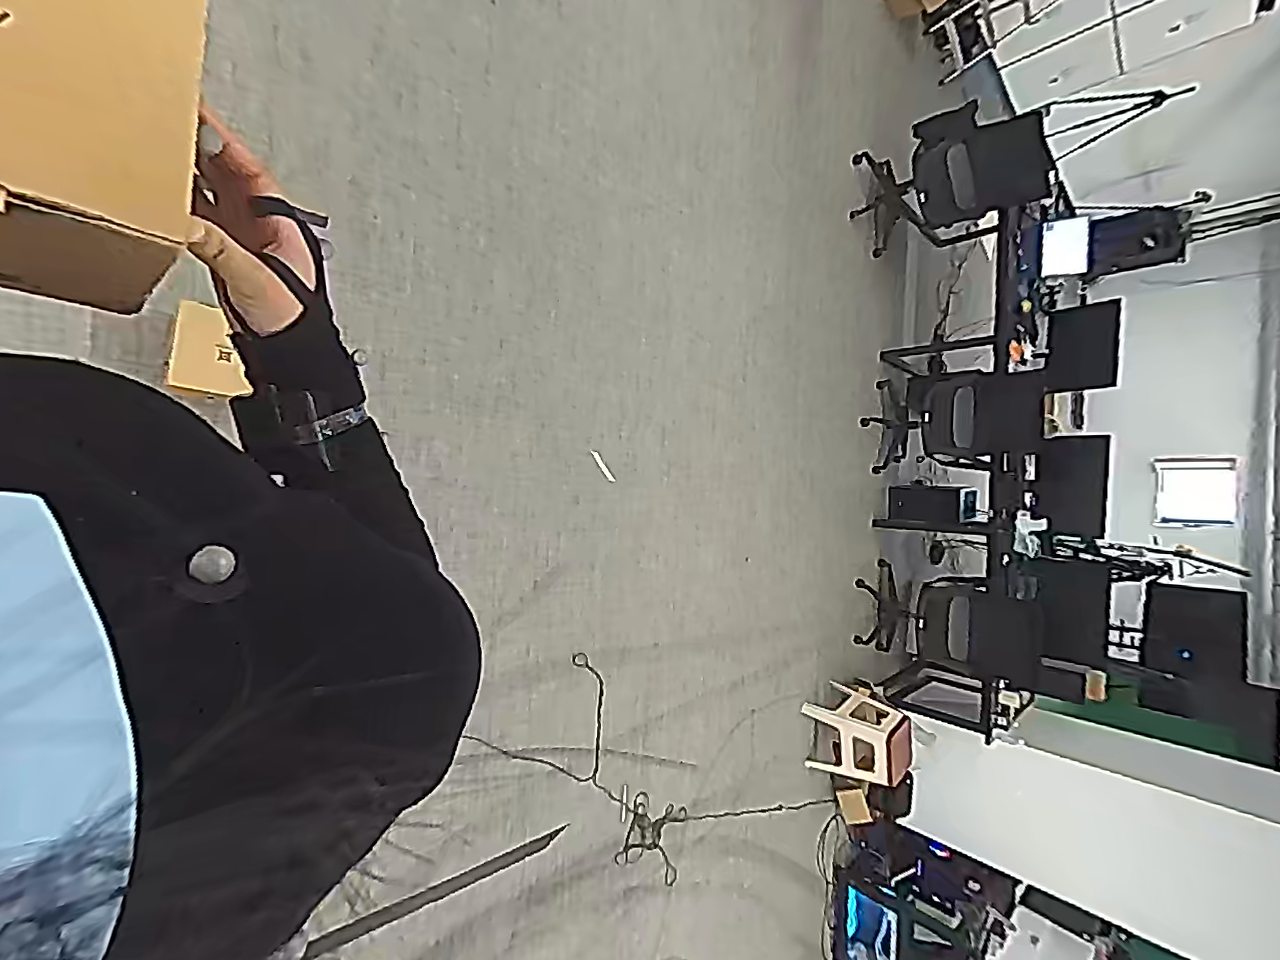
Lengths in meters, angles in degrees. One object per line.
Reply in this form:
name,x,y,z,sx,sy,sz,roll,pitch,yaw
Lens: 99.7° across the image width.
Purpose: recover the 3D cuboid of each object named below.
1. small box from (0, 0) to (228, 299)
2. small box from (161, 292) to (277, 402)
small box,-0.330,-0.212,0.267,0.168,0.176,0.179,5,87,-50
small box,-0.897,-0.269,1.149,0.168,0.176,0.179,10,84,-45
